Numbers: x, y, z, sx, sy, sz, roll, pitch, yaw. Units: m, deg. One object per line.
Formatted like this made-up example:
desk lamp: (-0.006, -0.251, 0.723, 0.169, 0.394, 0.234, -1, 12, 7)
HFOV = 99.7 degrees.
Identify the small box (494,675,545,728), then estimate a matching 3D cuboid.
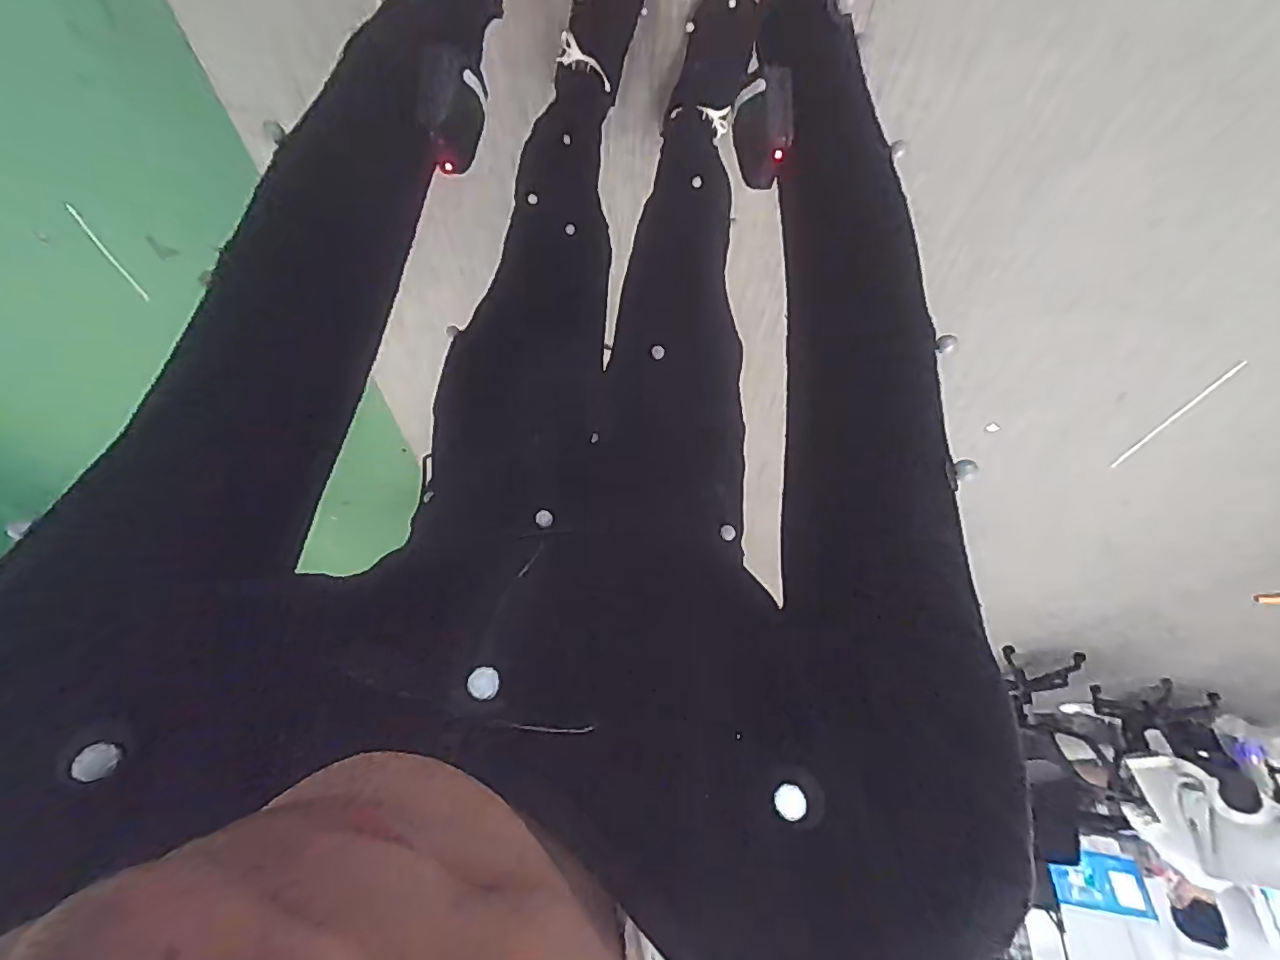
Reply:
small box: (-0.516, 0.961, 2.341, 0.168, 0.176, 0.179, 7, 146, 3)
